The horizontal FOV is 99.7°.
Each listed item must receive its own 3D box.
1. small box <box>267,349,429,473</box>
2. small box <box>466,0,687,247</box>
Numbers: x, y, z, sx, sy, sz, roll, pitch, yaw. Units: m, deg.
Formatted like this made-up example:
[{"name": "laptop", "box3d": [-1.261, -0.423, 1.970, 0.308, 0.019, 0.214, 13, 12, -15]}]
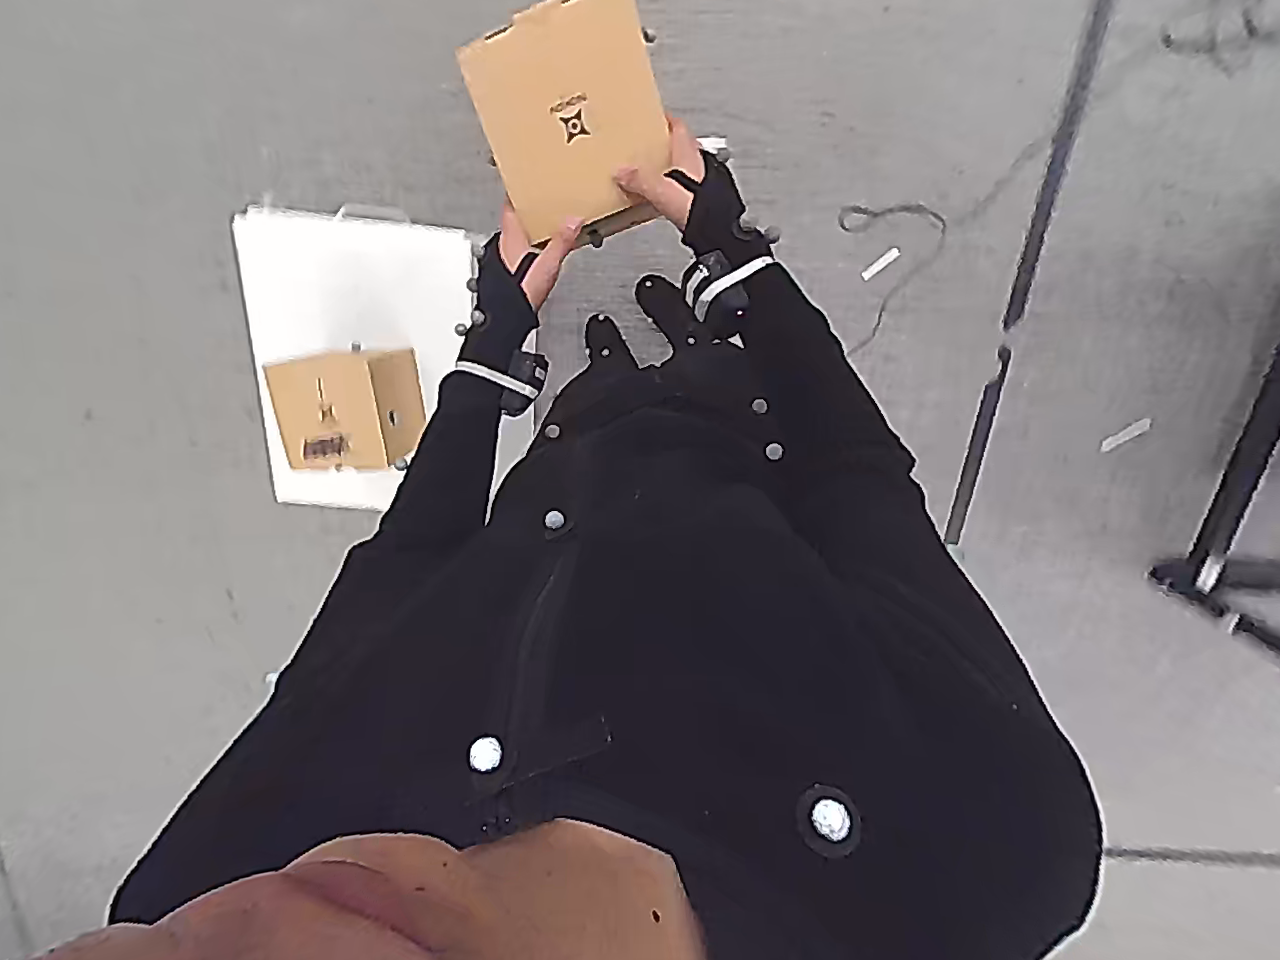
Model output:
[{"name": "small box", "box3d": [-0.478, -0.122, 0.919, 0.168, 0.176, 0.179, -2, 109, 2]}, {"name": "small box", "box3d": [-0.050, -0.362, 0.577, 0.168, 0.176, 0.179, -17, 107, 9]}]
